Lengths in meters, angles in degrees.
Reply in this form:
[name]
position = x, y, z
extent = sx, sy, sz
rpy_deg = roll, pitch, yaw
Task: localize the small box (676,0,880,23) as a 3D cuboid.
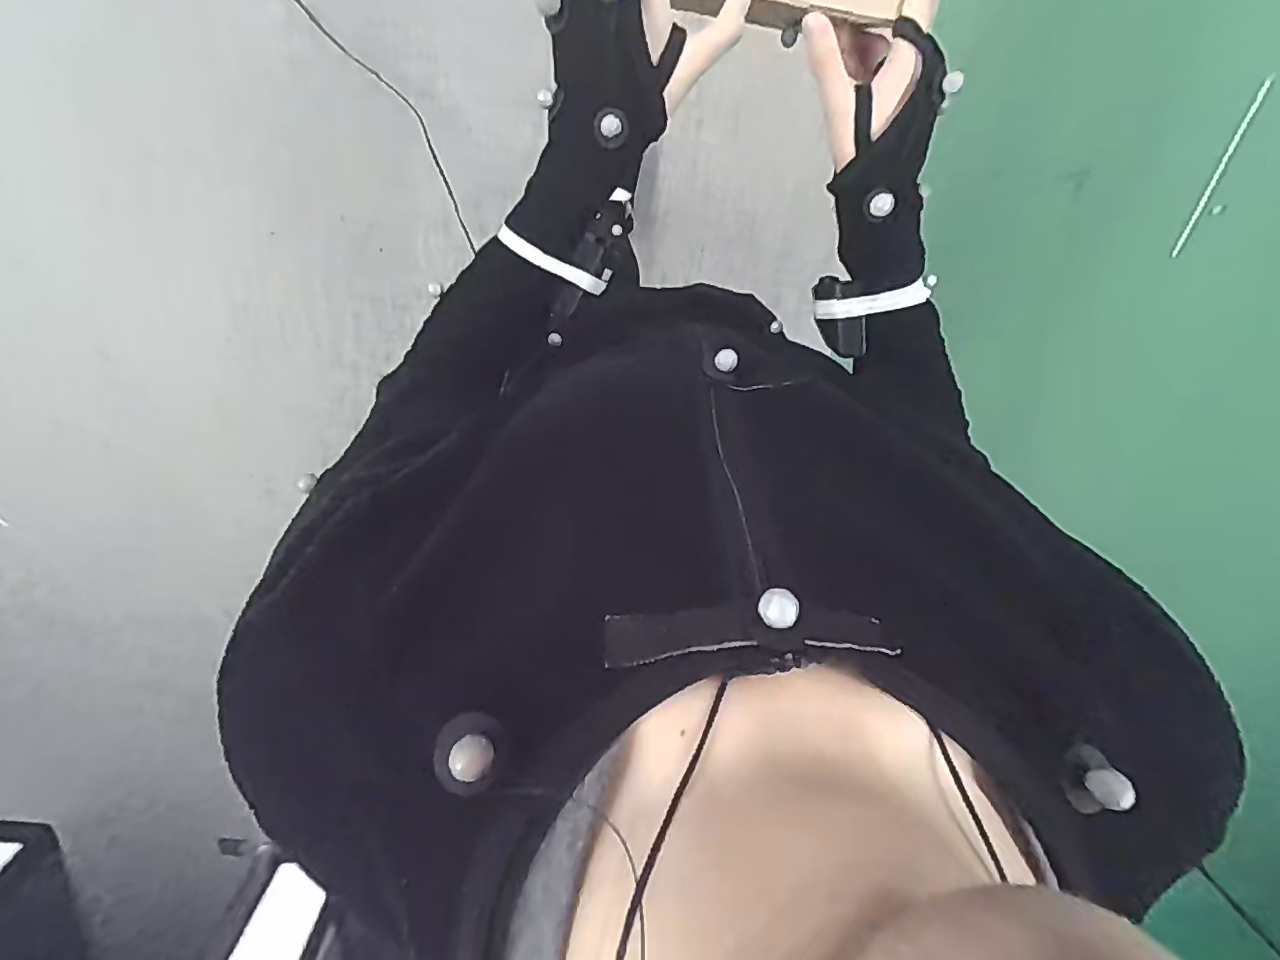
[small box]
position = 0.078, -0.419, 0.345
extent = 0.168, 0.176, 0.179
rpy_deg = 3, 126, -8
